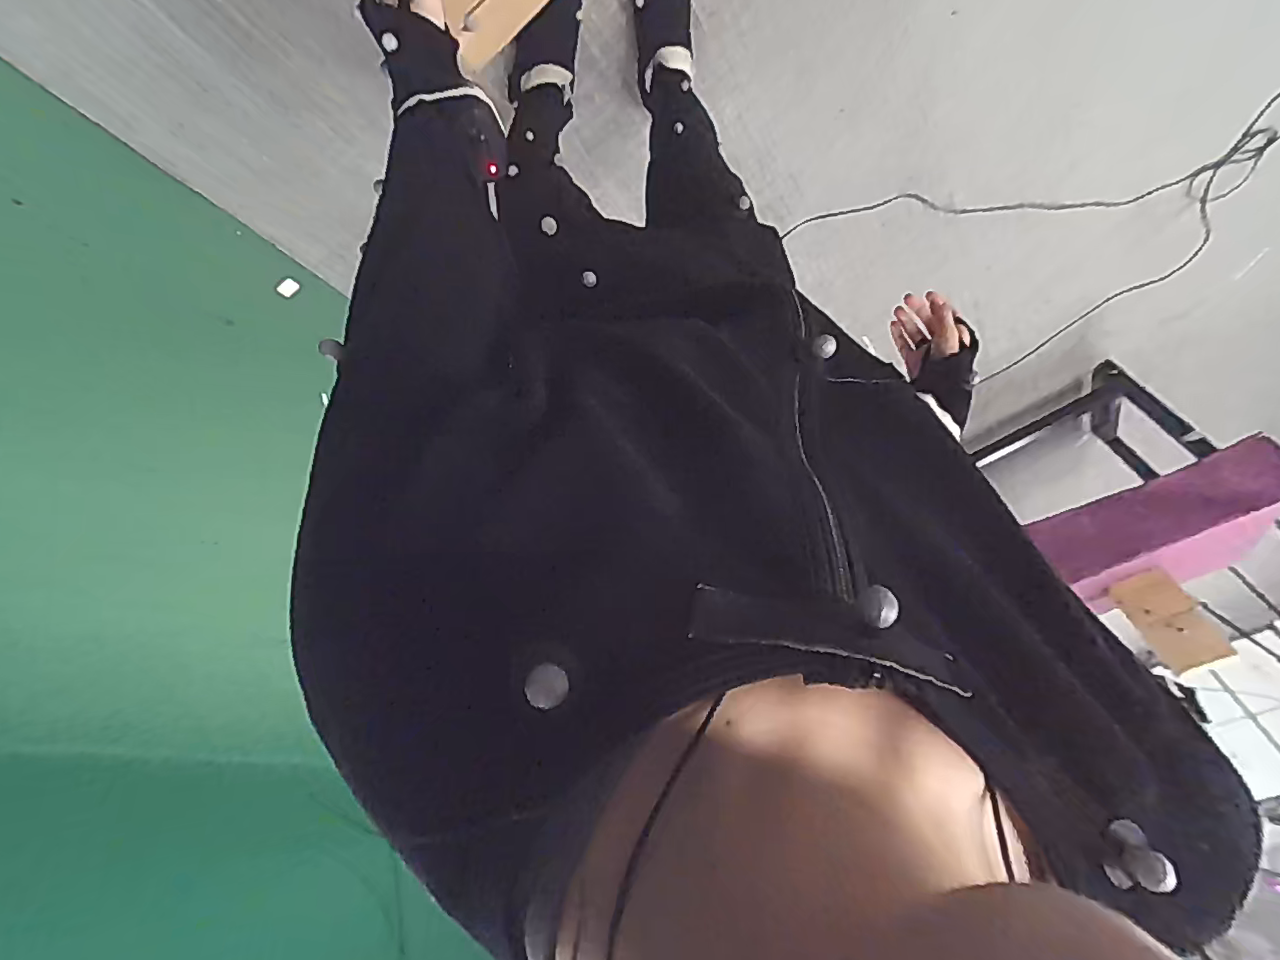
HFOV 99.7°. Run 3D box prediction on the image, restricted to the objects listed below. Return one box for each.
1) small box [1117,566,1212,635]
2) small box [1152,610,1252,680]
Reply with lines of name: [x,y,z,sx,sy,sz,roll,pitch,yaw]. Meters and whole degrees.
small box: [1.877,0.432,1.944,0.179,0.176,0.168,-33,139,22]
small box: [1.908,0.563,1.849,0.168,0.176,0.179,-33,139,22]
